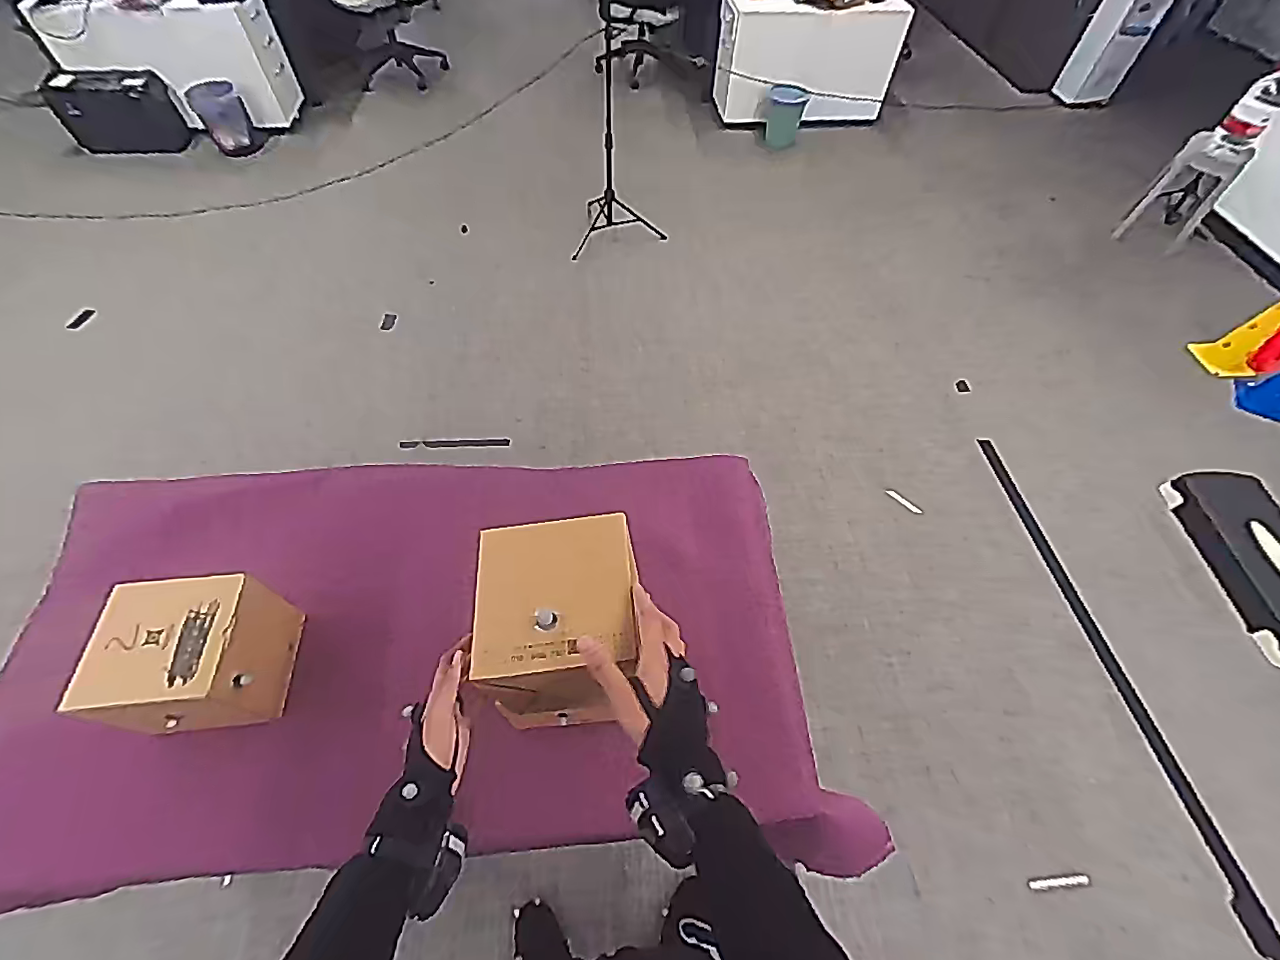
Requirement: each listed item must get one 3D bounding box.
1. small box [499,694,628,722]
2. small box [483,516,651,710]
[{"bbox_3d":[-0.103,0.248,0.791,0.168,0.176,0.179,-3,56,-4],"label":"small box"},{"bbox_3d":[-0.079,0.164,0.636,0.168,0.179,0.176,-7,57,0],"label":"small box"}]
